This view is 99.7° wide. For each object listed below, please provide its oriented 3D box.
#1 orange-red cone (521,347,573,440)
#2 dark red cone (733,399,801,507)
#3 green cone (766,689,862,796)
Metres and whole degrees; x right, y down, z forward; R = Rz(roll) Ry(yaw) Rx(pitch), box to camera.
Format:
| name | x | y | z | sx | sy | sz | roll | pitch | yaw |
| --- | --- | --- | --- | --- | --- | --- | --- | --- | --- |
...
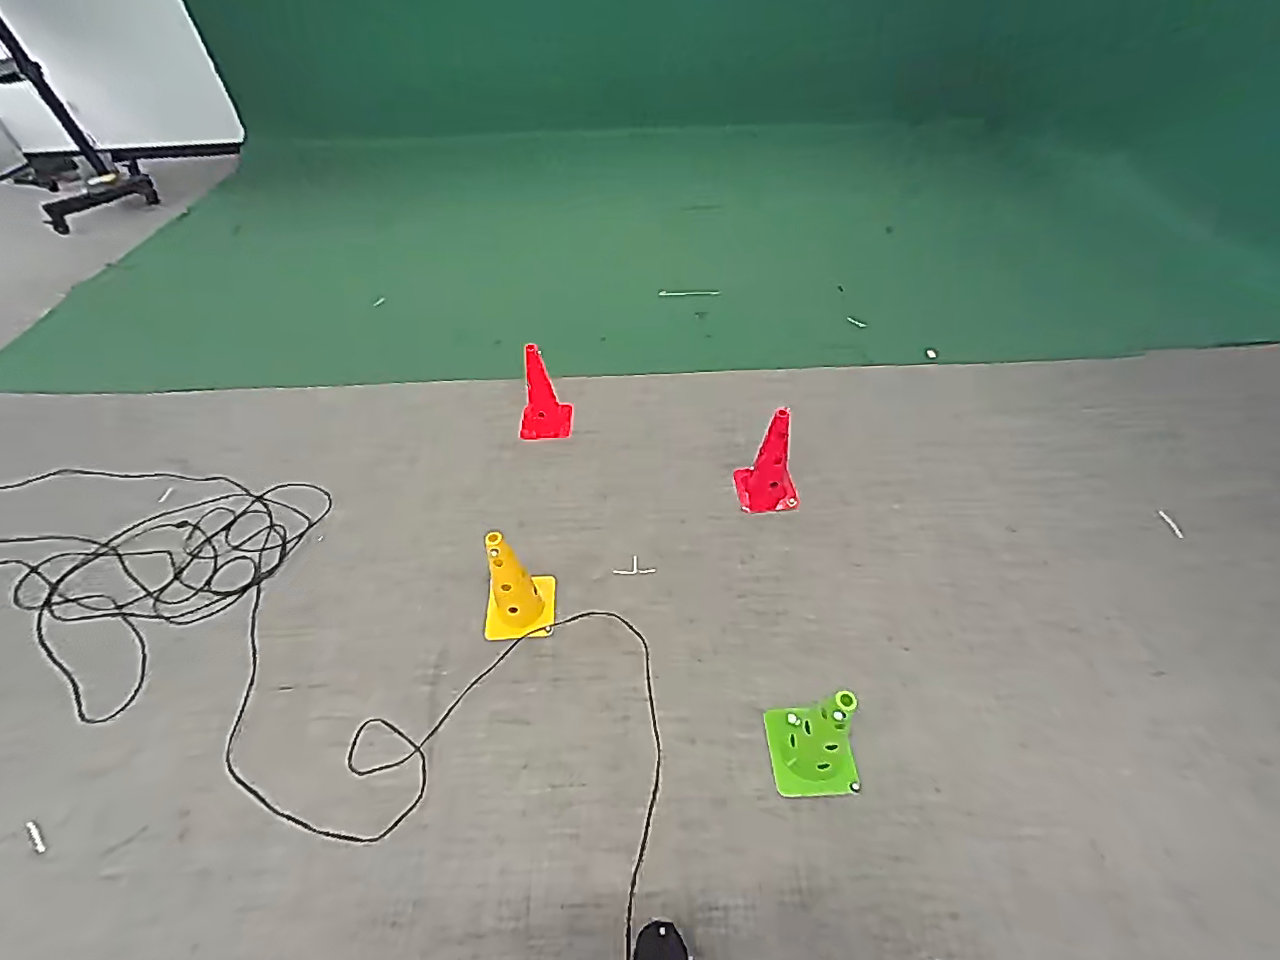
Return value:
| name | x | y | z | sx | sy | sz | roll | pitch | yaw |
| --- | --- | --- | --- | --- | --- | --- | --- | --- | --- |
| orange-red cone | -0.380 | -0.342 | 2.037 | 0.198 | 0.360 | 0.199 | -3 | 49 | 2 |
| dark red cone | 0.432 | -0.100 | 1.753 | 0.202 | 0.394 | 0.201 | -6 | 47 | -3 |
| green cone | 0.417 | 0.550 | 1.211 | 0.202 | 0.368 | 0.200 | -4 | 48 | 1 |
